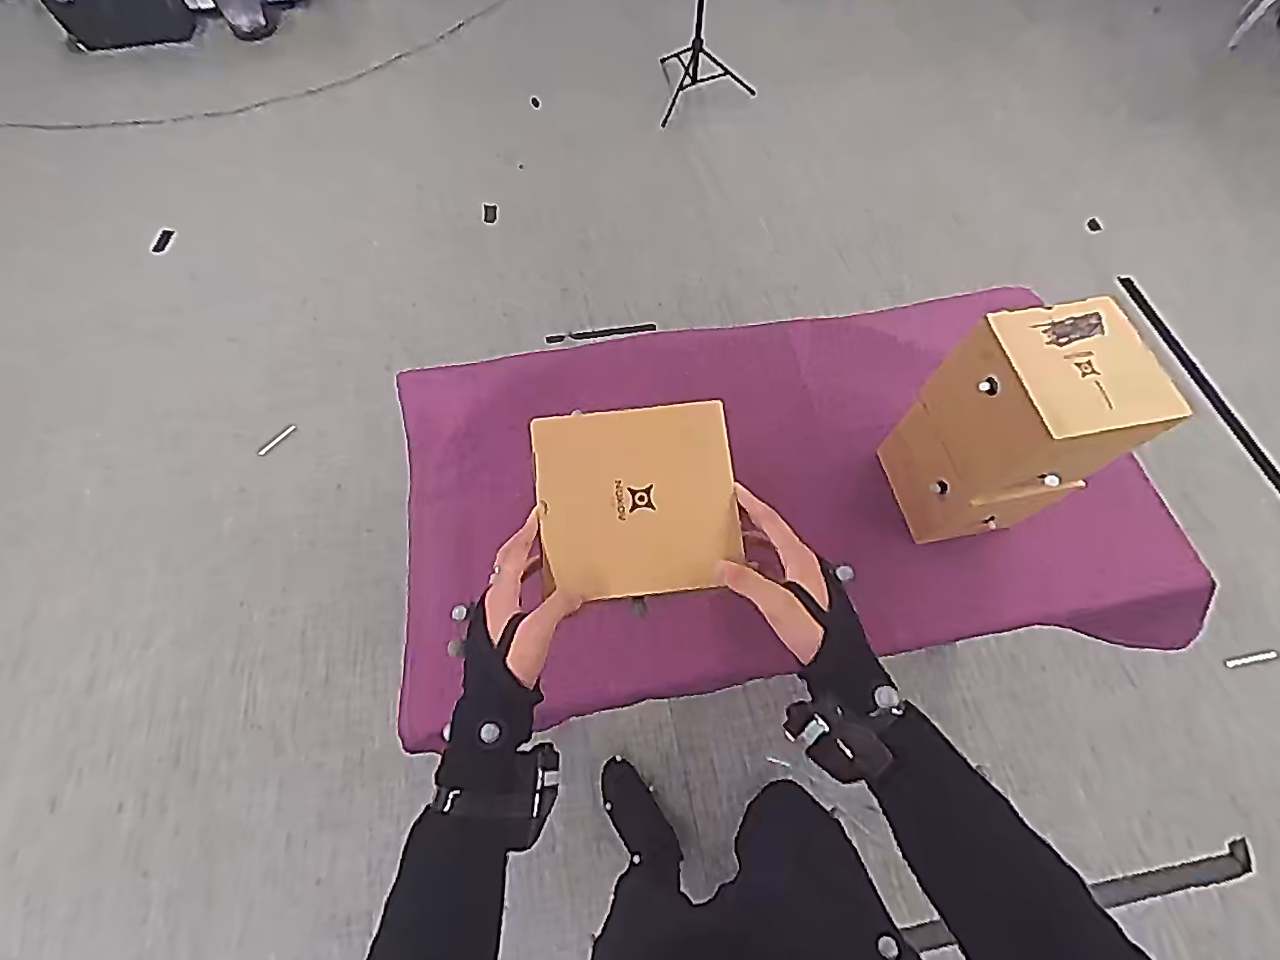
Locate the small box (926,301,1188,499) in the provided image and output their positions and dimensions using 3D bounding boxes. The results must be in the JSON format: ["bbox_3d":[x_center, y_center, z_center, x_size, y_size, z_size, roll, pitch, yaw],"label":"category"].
[{"bbox_3d":[0.503,-0.095,0.690,0.168,0.176,0.179,-9,66,-4],"label":"small box"}]

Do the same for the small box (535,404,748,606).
[{"bbox_3d":[-0.001,0.035,0.550,0.179,0.176,0.168,-6,77,0],"label":"small box"}]

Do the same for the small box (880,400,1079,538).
[{"bbox_3d":[0.504,-0.019,0.835,0.168,0.176,0.179,-10,66,-4],"label":"small box"}]
